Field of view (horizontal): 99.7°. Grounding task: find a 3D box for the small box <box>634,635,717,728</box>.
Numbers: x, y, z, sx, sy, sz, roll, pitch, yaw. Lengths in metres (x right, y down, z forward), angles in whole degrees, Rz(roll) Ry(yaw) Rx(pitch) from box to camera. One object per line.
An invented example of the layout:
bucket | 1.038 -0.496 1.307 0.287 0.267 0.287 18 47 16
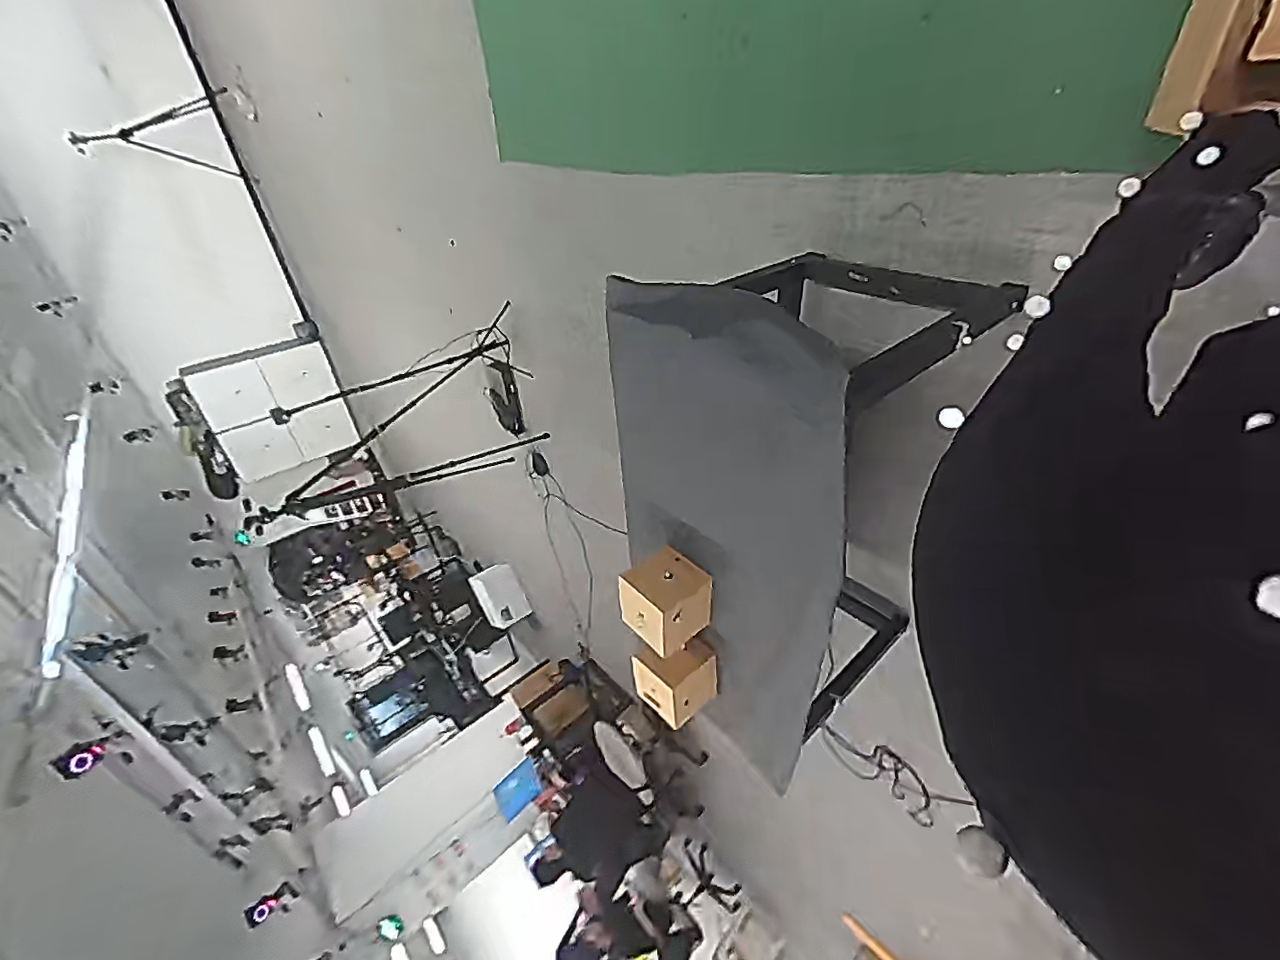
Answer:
small box | 0.106 0.548 1.527 0.168 0.176 0.179 28 135 43

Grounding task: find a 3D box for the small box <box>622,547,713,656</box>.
small box | 0.072 0.303 1.381 0.168 0.176 0.179 34 140 39
